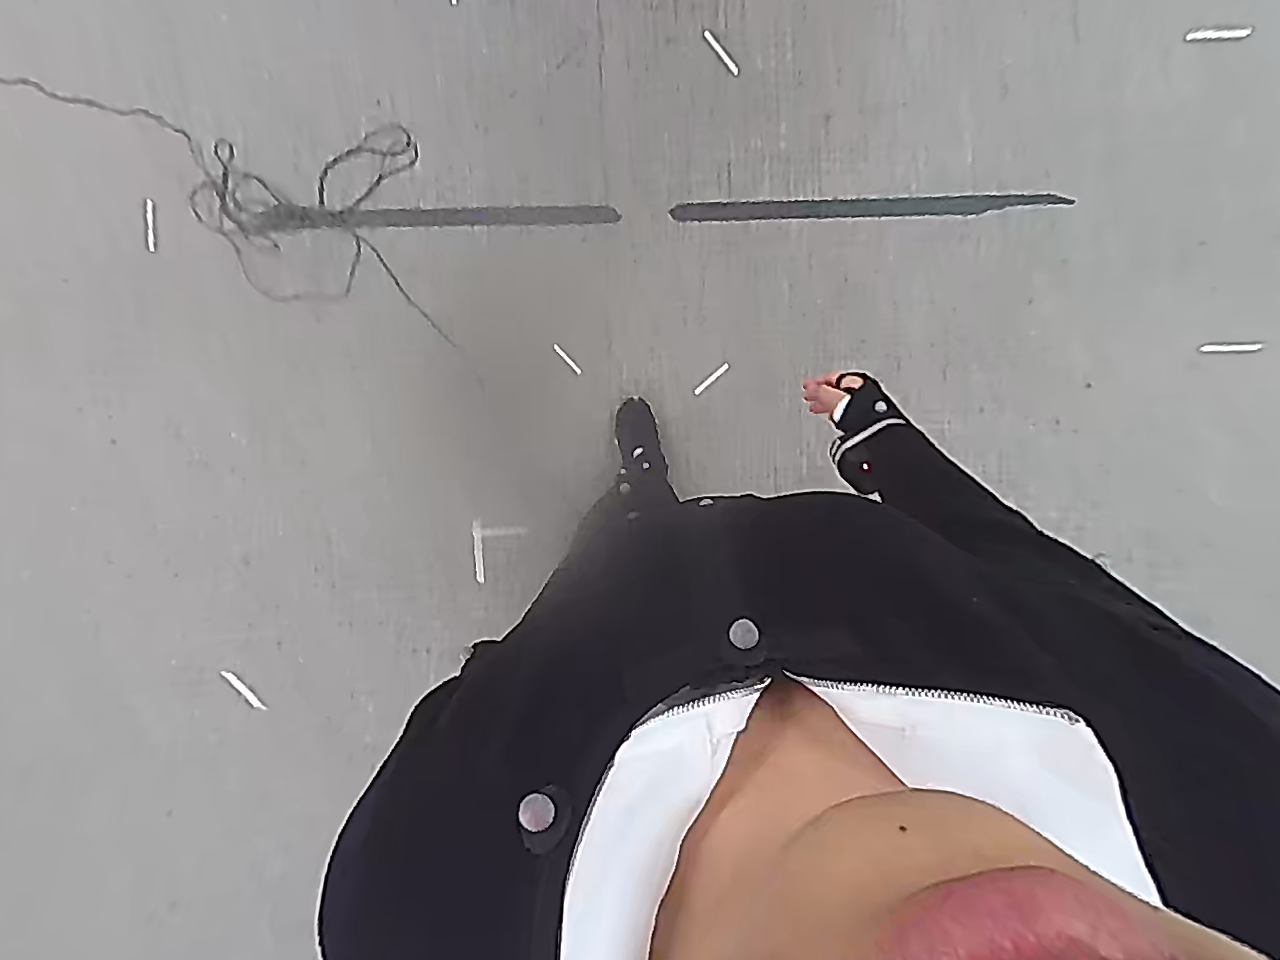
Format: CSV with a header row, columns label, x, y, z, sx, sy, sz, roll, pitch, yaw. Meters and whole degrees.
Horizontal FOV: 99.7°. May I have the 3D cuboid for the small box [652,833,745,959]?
label,x,y,z,sx,sy,sz,roll,pitch,yaw
small box,0.113,0.840,1.068,0.168,0.176,0.179,-5,92,2
